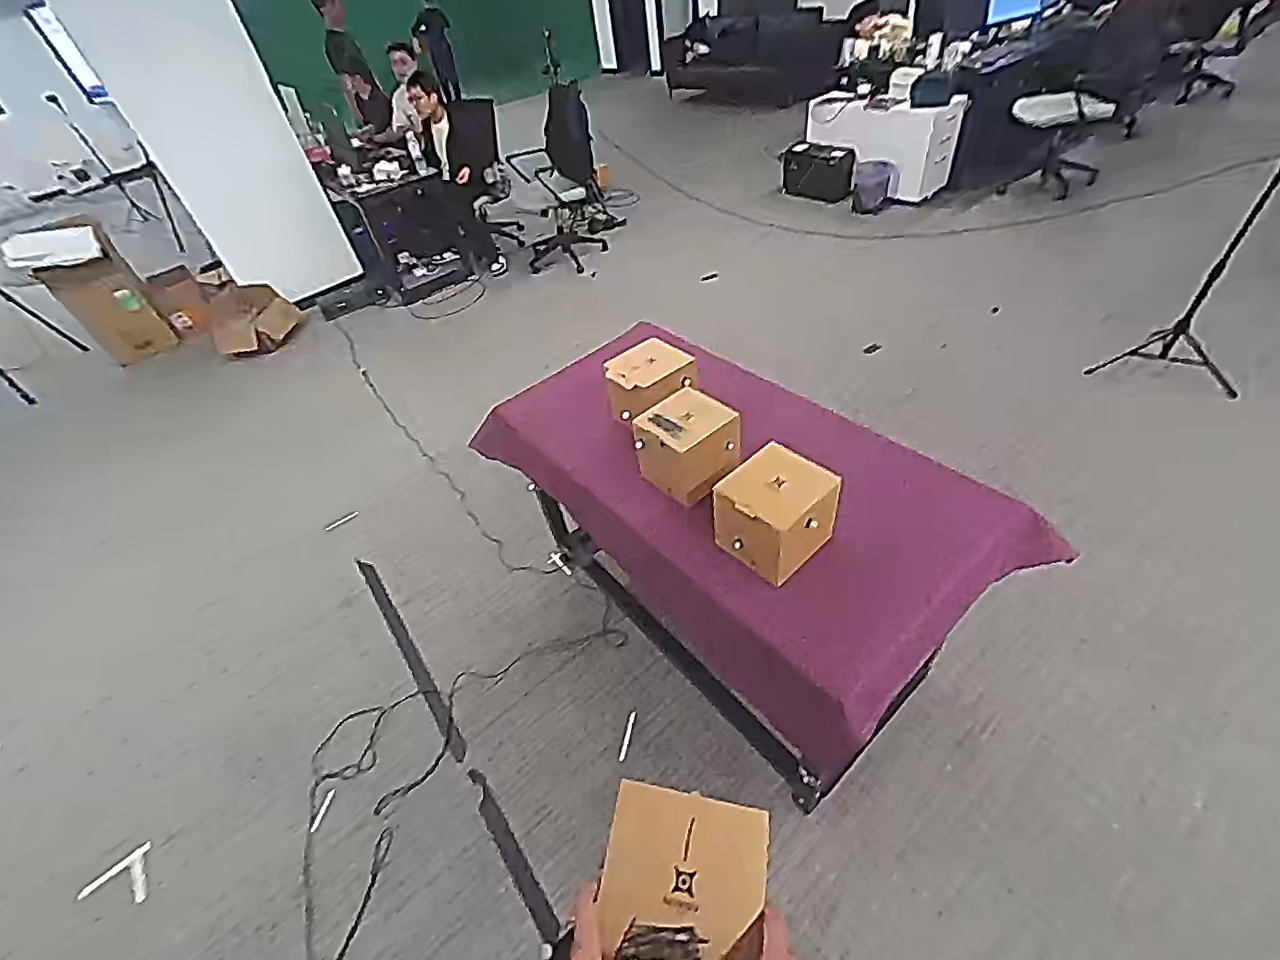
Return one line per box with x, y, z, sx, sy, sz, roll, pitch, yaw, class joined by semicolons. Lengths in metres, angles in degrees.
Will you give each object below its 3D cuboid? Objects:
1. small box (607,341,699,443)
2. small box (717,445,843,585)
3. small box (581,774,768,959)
0.039;-0.230;1.408;0.179;0.176;0.168;-34;48;-22;small box
0.268;0.069;1.065;0.179;0.176;0.168;-35;49;-23;small box
0.043;0.457;0.607;0.168;0.176;0.179;9;53;8;small box
